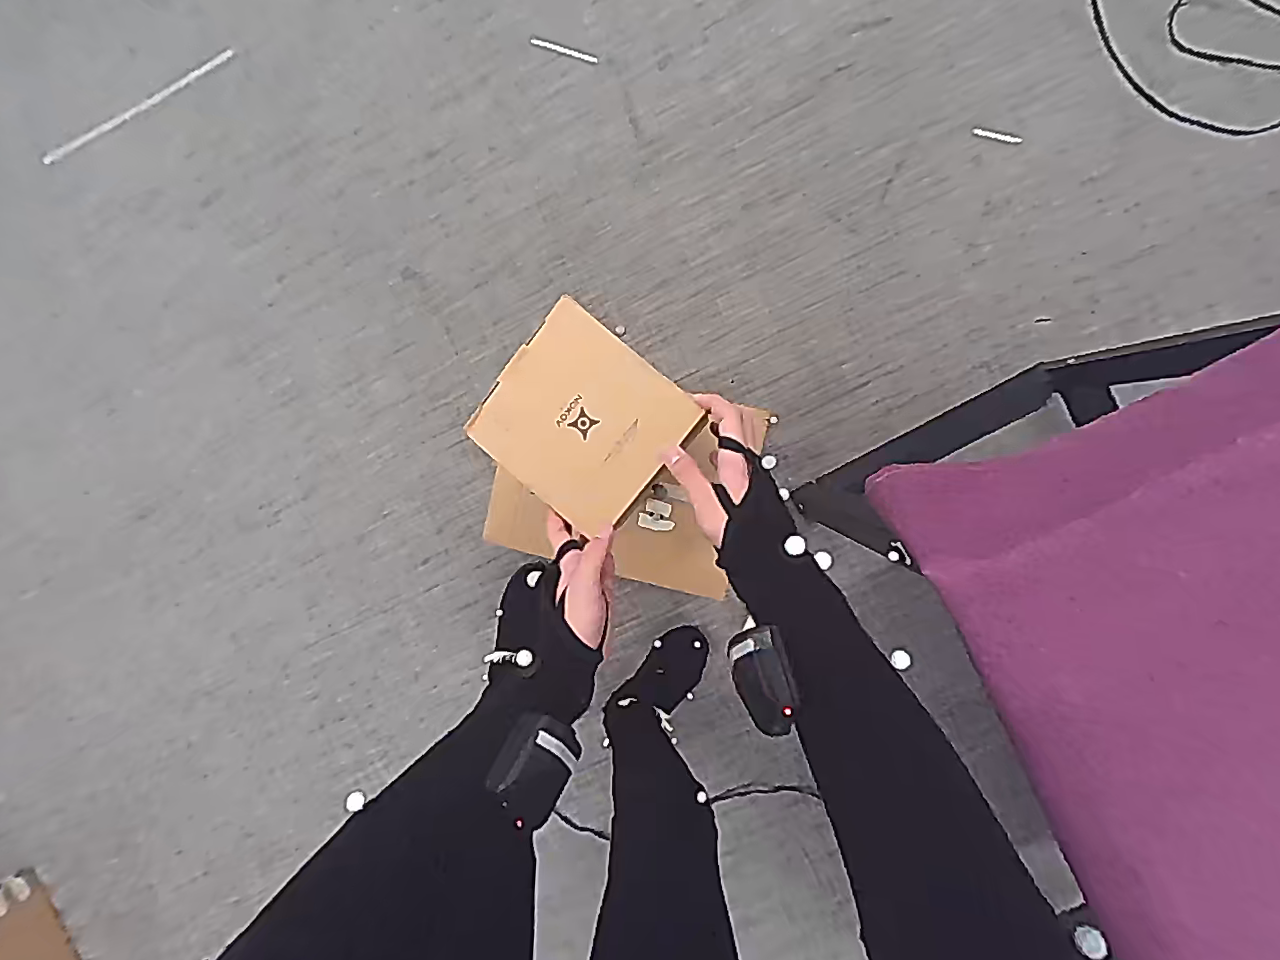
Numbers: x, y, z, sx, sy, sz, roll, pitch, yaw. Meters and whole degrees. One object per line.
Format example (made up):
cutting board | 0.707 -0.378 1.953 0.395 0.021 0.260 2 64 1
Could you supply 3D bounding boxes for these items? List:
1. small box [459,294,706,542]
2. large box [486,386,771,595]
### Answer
small box | -0.047 -0.059 0.575 0.179 0.176 0.168 41 98 4
large box | -0.020 -0.015 0.996 0.408 0.320 0.320 13 95 1
